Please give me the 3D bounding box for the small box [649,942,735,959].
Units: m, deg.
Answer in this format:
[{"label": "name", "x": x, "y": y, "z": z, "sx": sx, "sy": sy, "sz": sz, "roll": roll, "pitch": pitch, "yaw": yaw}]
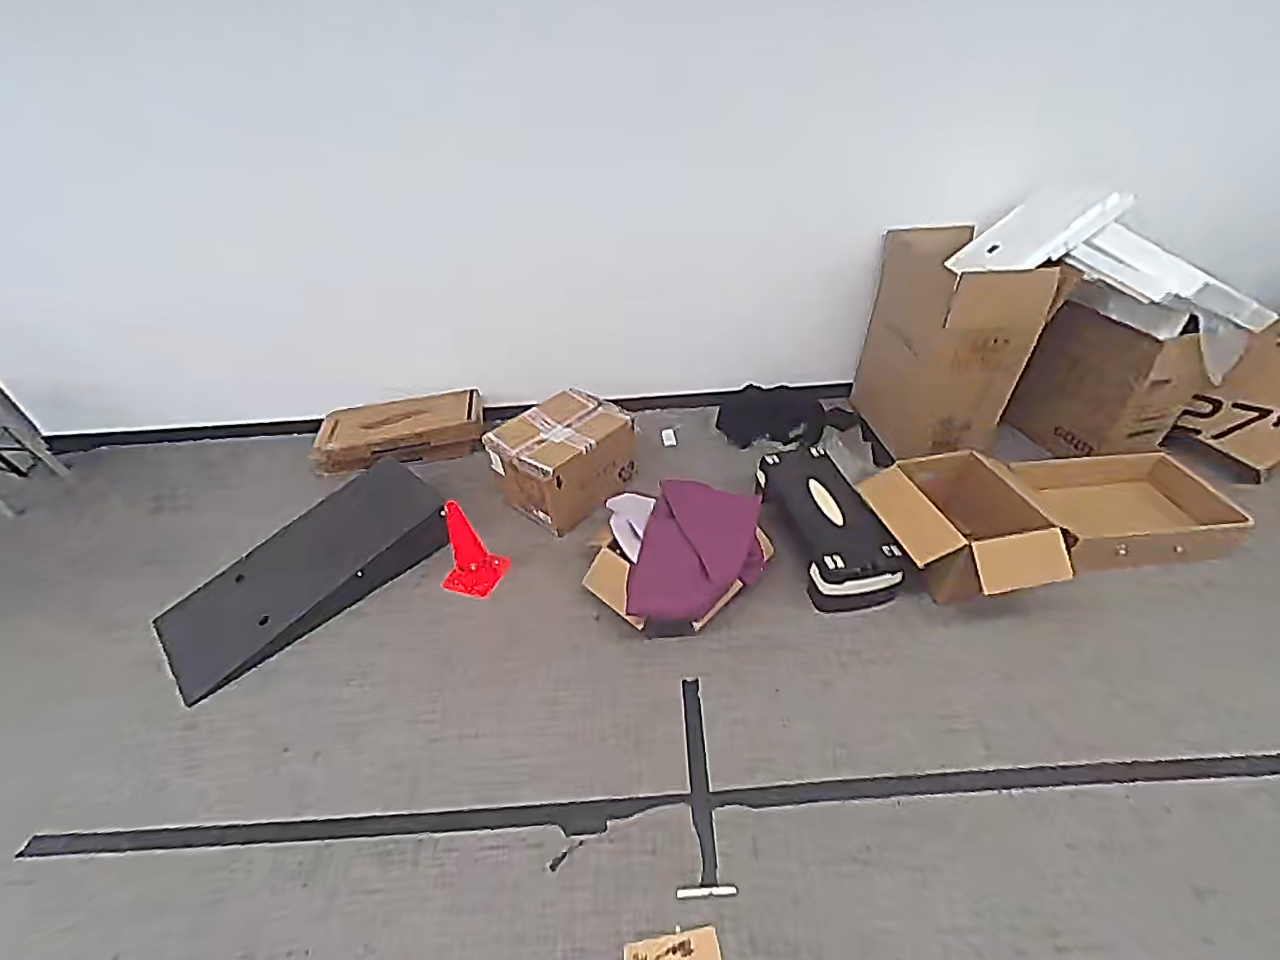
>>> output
[{"label": "small box", "x": 0.084, "y": 0.862, "z": 0.841, "sx": 0.168, "sy": 0.176, "sz": 0.179, "roll": -9, "pitch": 40, "yaw": -5}]
